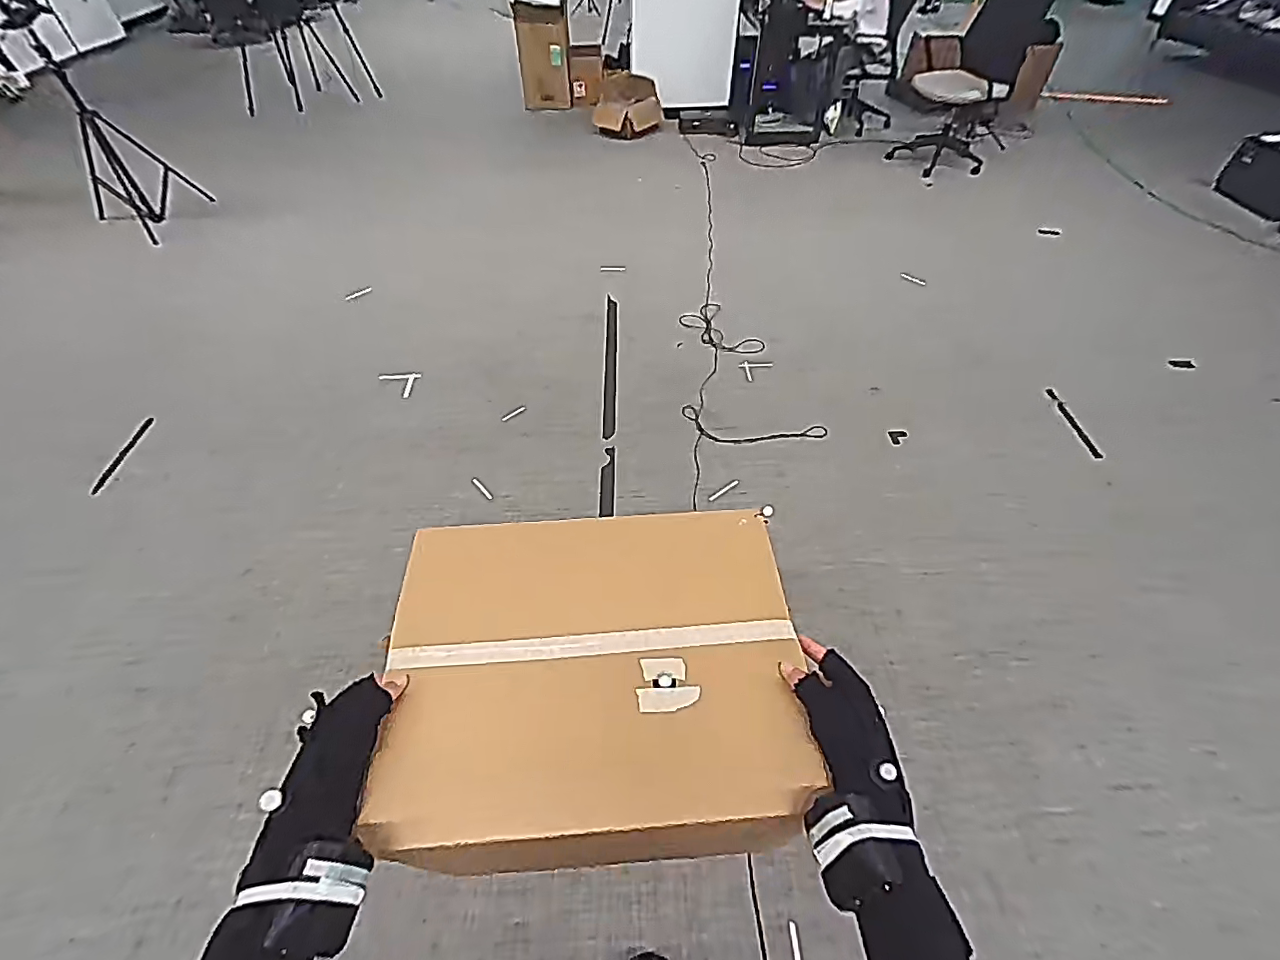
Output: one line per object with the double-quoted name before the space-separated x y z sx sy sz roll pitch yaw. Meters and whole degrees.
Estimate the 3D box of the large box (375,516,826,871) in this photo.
"large box" -0.045 0.269 0.675 0.408 0.320 0.320 -3 52 -3
